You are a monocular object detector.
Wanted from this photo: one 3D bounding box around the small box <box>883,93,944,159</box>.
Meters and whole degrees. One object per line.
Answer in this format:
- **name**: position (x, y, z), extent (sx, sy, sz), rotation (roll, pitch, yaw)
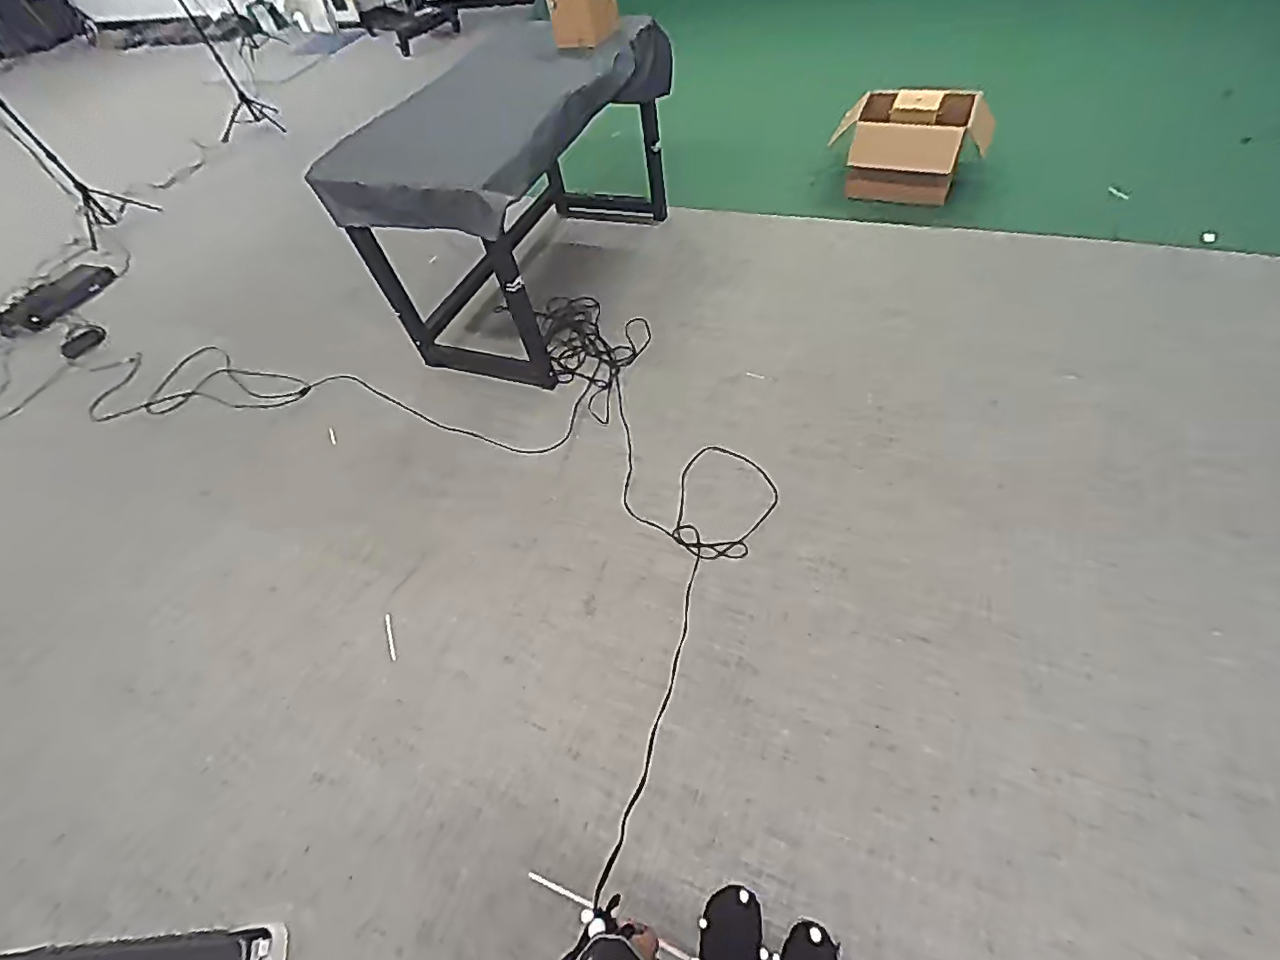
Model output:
- **small box**: position (1.102, -1.431, 2.185), extent (0.168, 0.176, 0.179), rotation (18, 59, 20)
